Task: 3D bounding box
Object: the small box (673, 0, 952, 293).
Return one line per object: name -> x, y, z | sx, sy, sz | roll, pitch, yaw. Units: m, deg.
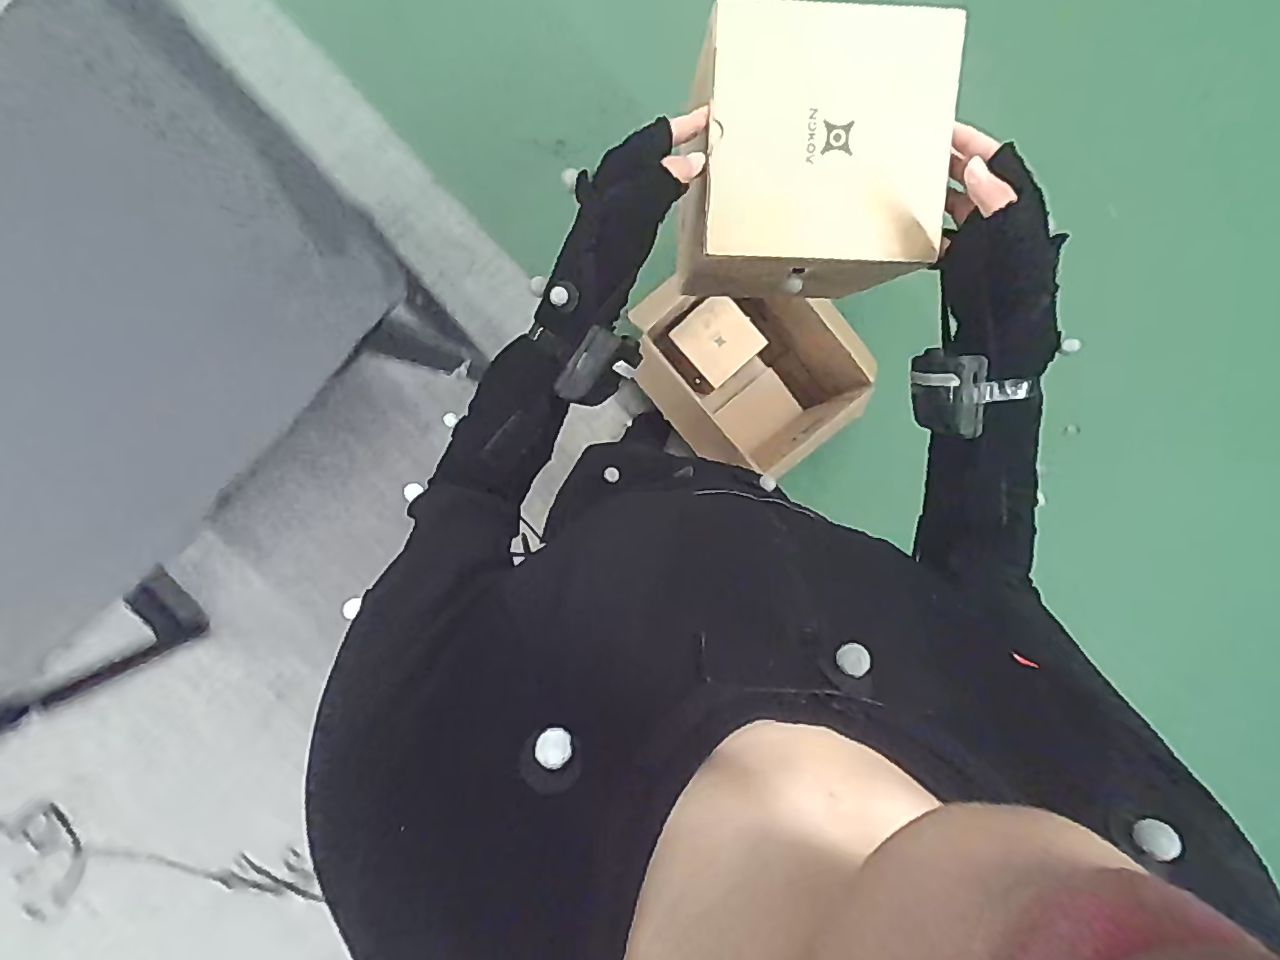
small box -> 0.124, -0.258, 0.458 | 0.179, 0.176, 0.168 | 0, 100, -1
